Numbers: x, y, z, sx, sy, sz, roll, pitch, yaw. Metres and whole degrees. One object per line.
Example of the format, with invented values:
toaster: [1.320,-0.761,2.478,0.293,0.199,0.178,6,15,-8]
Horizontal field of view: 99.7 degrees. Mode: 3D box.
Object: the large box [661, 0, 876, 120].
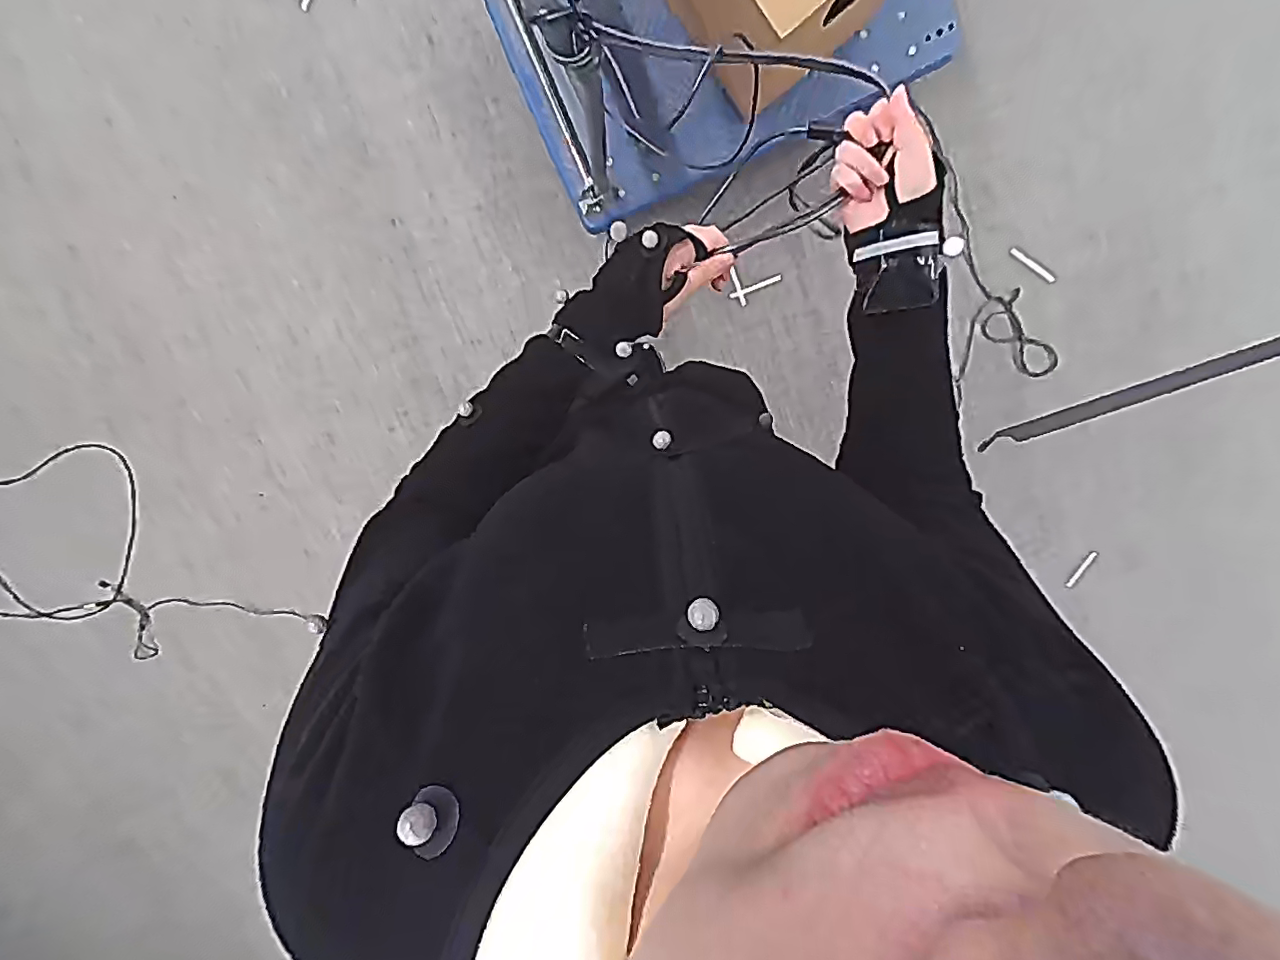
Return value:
large box: [0.217,-0.967,0.949,0.320,0.320,0.408,-38,100,9]
